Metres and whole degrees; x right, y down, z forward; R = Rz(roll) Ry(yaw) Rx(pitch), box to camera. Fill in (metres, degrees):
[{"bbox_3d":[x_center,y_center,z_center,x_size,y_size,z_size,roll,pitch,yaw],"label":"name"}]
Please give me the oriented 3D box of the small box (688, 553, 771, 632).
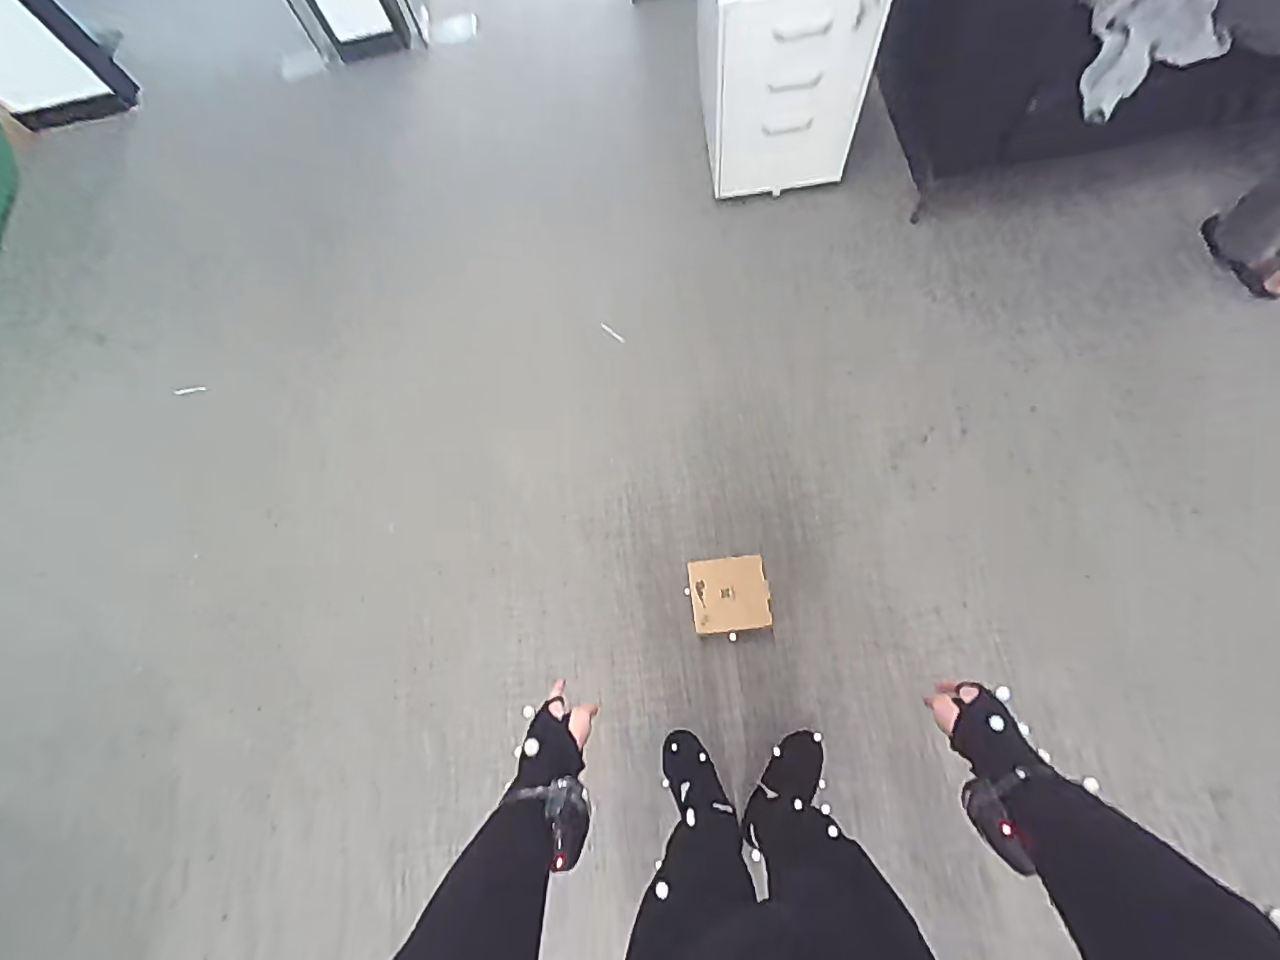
[{"bbox_3d":[0.211,0.280,1.324,0.179,0.176,0.168,-7,71,3],"label":"small box"}]
